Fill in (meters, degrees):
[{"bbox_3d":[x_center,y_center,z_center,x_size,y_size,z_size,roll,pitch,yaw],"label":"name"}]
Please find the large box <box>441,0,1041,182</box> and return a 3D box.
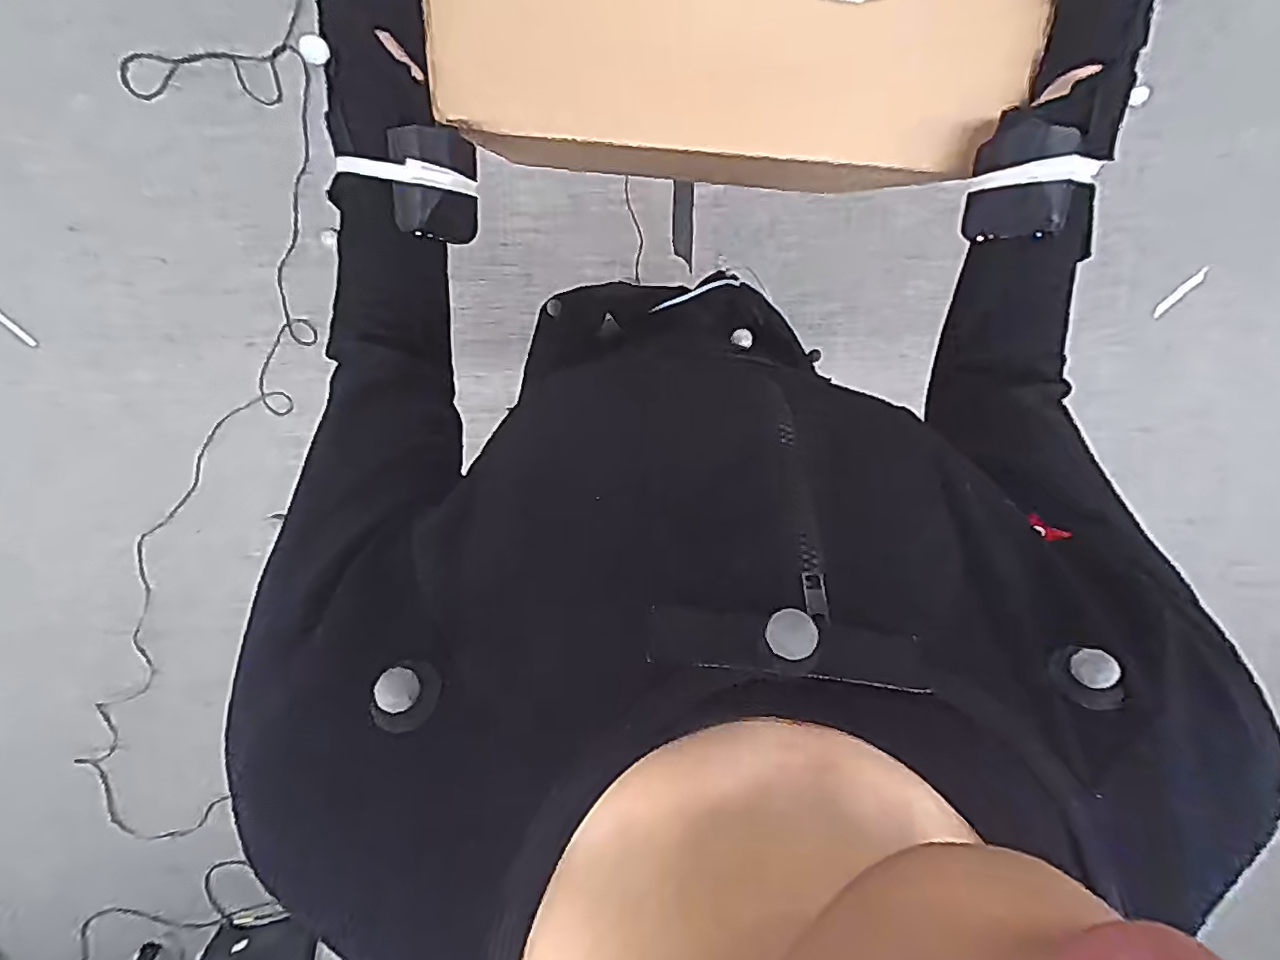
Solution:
[{"bbox_3d":[0.063,-0.443,0.453,0.408,0.320,0.320,2,117,-5],"label":"large box"}]
